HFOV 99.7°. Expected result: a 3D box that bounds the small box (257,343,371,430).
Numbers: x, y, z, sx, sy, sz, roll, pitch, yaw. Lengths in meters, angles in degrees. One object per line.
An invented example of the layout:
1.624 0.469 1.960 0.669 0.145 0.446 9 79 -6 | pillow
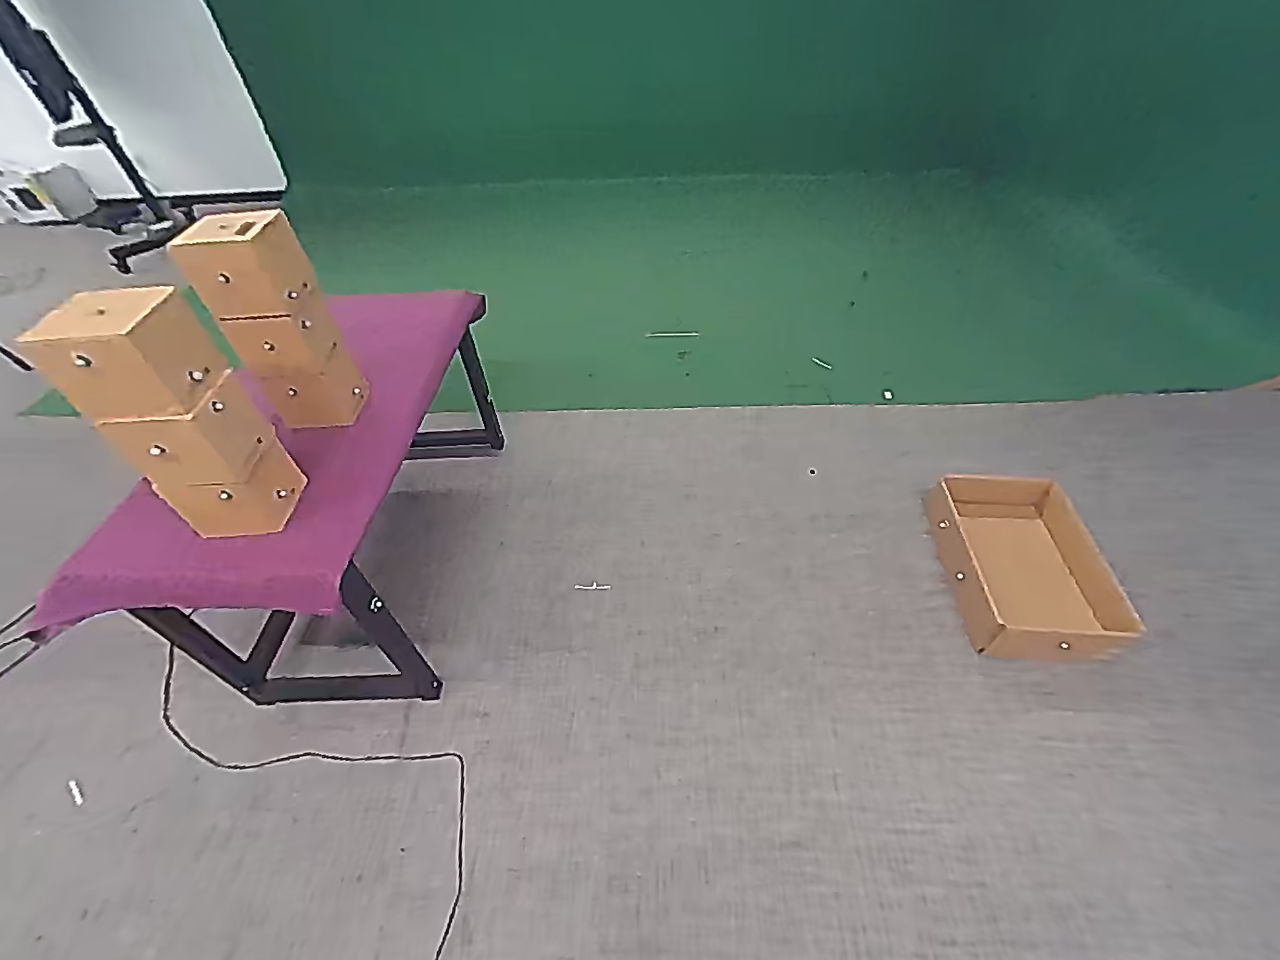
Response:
-0.863 -0.248 1.451 0.179 0.176 0.168 -2 46 1 | small box

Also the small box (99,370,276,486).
-0.887 -0.101 1.082 0.179 0.176 0.168 -3 45 1 | small box

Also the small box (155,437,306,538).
-0.893 0.014 1.199 0.179 0.176 0.168 -4 45 -1 | small box

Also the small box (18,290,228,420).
-0.905 -0.221 0.971 0.179 0.176 0.168 -4 46 -1 | small box

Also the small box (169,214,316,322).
-0.871 -0.472 1.210 0.179 0.176 0.168 -4 46 1 | small box
